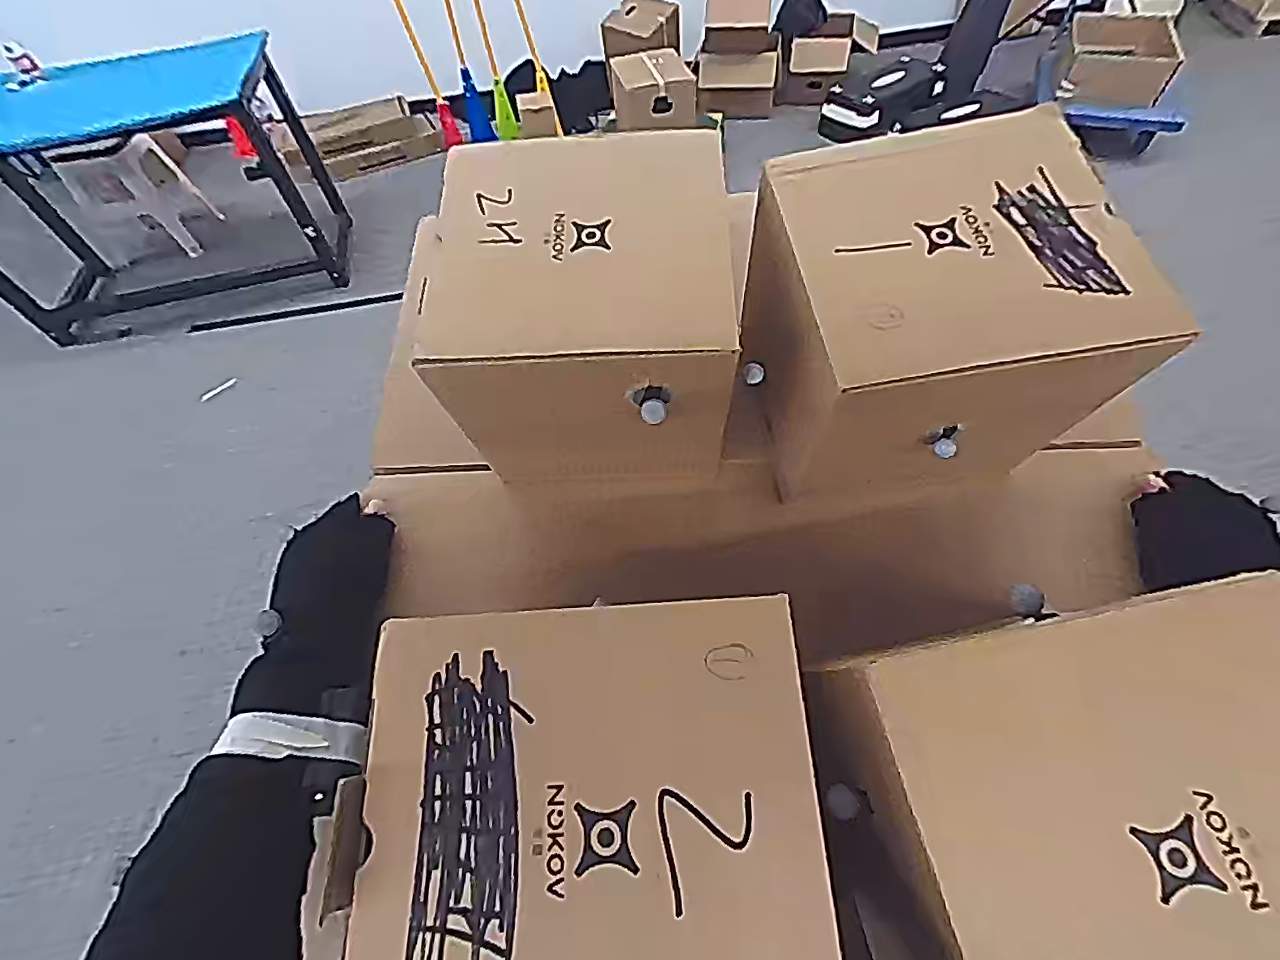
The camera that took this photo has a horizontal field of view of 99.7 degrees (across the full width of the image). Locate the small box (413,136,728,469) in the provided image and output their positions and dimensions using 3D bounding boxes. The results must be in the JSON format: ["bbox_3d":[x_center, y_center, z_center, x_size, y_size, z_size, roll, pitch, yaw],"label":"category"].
[{"bbox_3d":[-0.033,-0.114,0.398,0.179,0.176,0.168,-1,67,4],"label":"small box"}]
